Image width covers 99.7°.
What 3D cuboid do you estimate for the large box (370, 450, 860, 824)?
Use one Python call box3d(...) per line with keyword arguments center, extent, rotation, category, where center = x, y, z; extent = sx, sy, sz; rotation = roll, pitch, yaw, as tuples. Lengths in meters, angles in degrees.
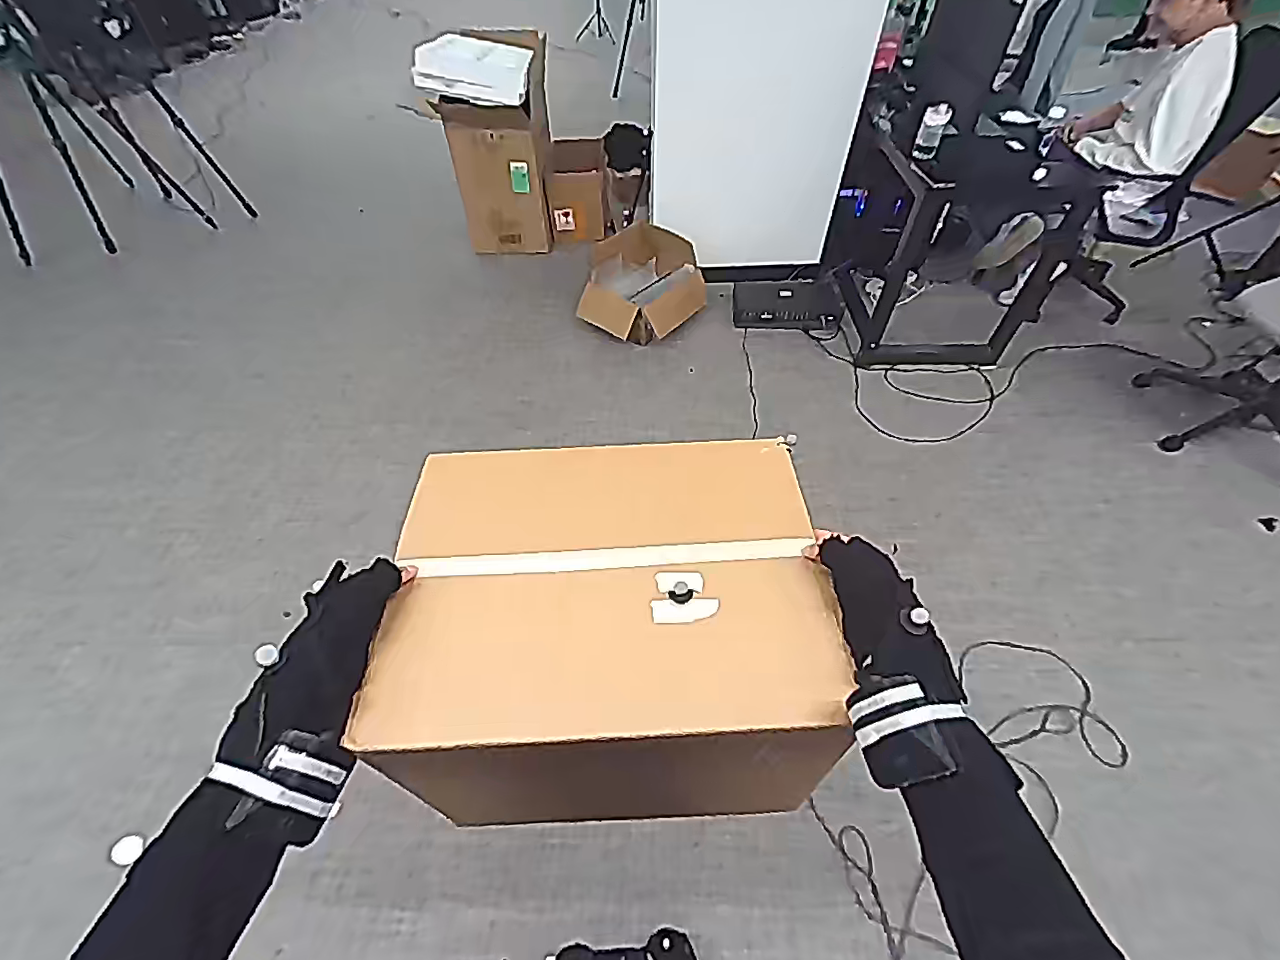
box3d(center=(-0.024, 0.187, 0.639), extent=(0.408, 0.320, 0.320), rotation=(-2, 48, -1), category="large box")
